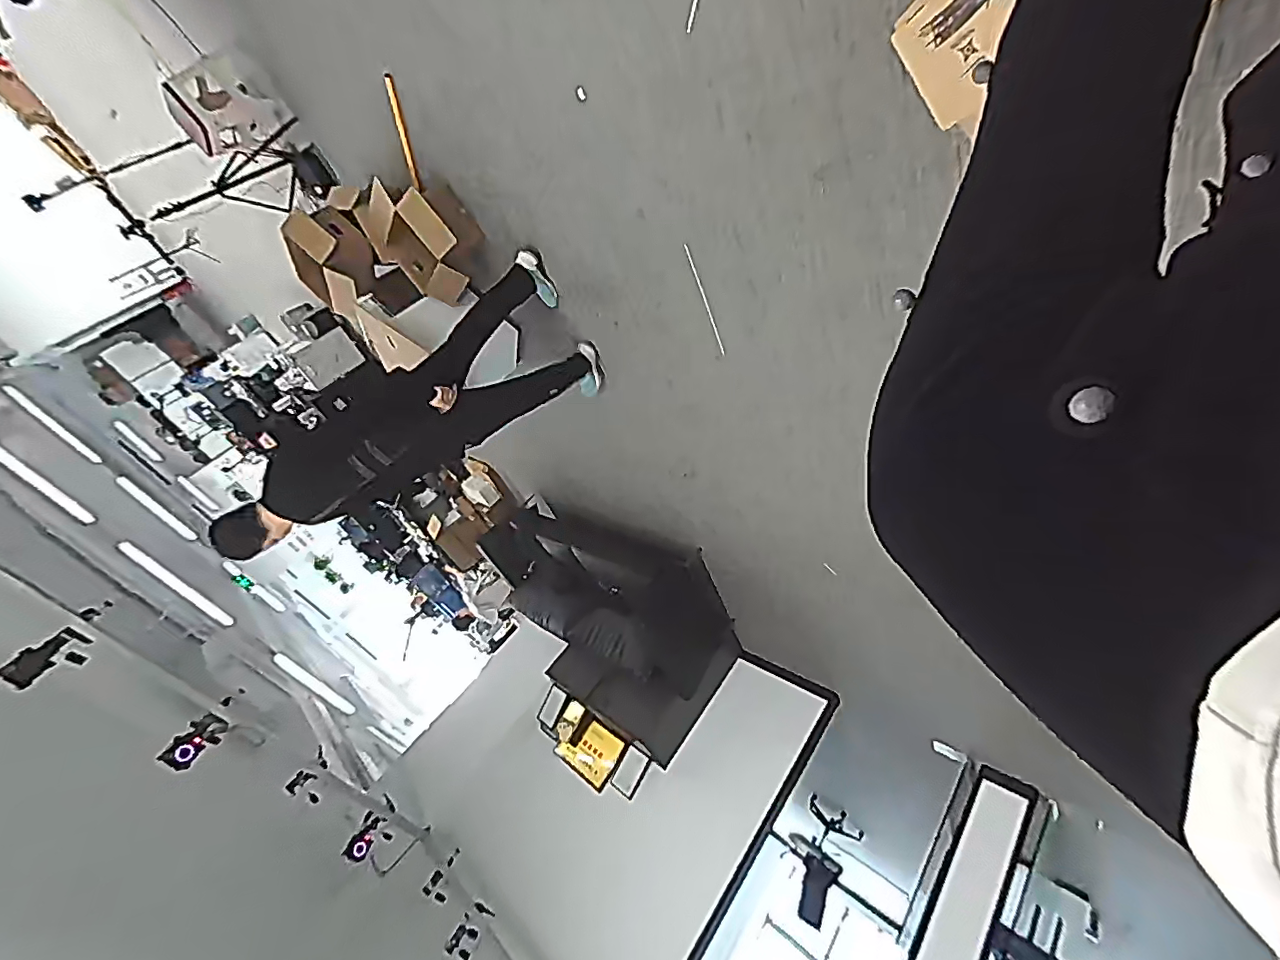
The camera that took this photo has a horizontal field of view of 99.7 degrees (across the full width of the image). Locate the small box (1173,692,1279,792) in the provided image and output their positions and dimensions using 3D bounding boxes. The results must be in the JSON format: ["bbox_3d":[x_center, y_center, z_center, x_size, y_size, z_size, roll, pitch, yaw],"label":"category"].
[{"bbox_3d":[1.728,0.767,1.591,0.168,0.176,0.179,24,147,39],"label":"small box"}]

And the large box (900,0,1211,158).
[{"bbox_3d":[0.750,-0.864,0.913,0.320,0.320,0.408,47,152,-9],"label":"large box"}]

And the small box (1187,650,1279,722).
[{"bbox_3d":[1.834,0.660,1.655,0.168,0.176,0.179,22,145,42],"label":"small box"}]
